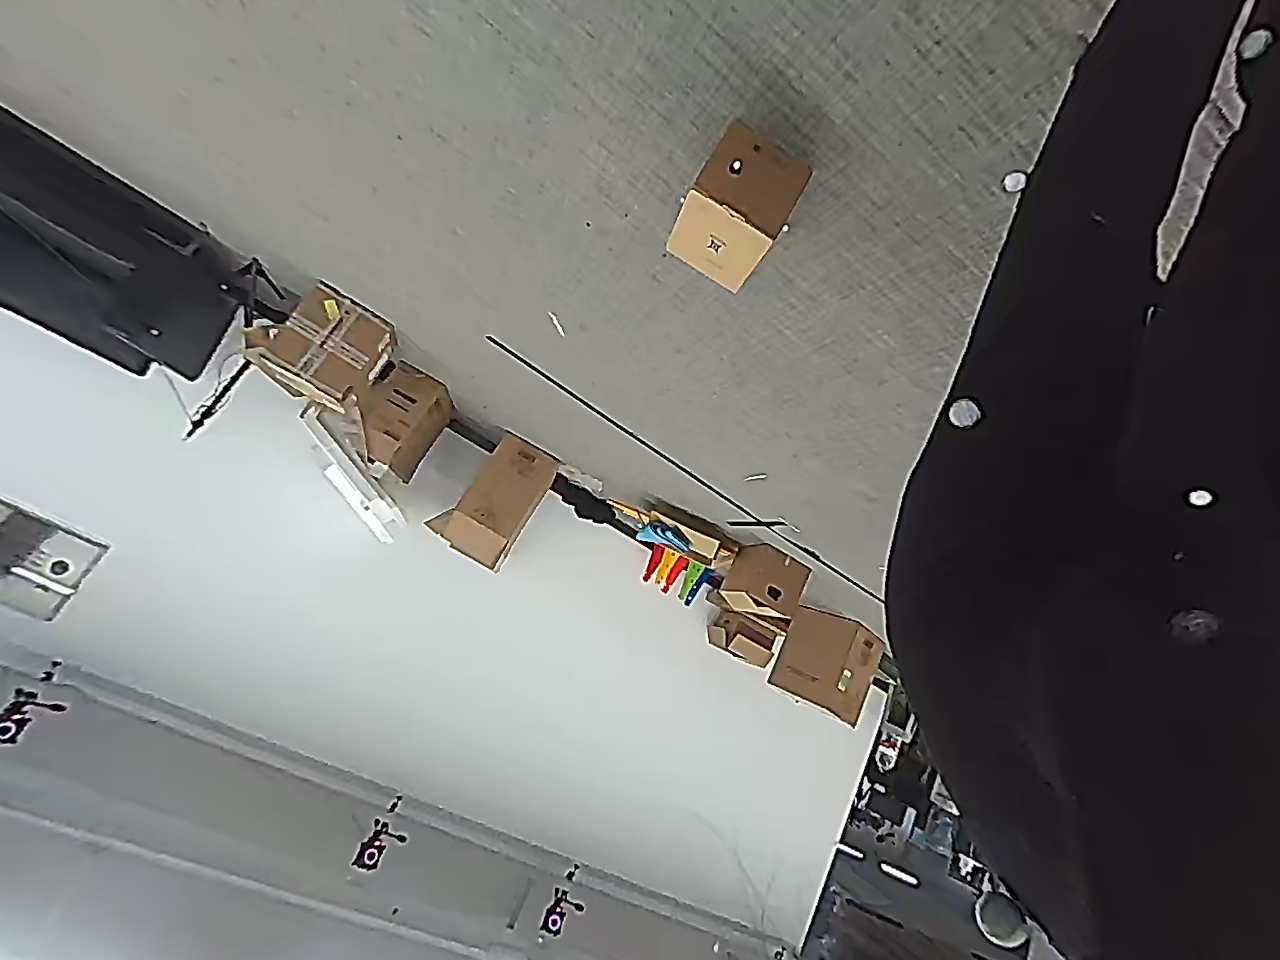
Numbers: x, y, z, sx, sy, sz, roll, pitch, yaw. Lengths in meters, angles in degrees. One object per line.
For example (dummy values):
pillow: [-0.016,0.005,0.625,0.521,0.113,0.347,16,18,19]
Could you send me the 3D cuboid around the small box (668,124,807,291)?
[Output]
small box: [0.176,-0.489,0.978,0.168,0.176,0.179,31,166,-4]
